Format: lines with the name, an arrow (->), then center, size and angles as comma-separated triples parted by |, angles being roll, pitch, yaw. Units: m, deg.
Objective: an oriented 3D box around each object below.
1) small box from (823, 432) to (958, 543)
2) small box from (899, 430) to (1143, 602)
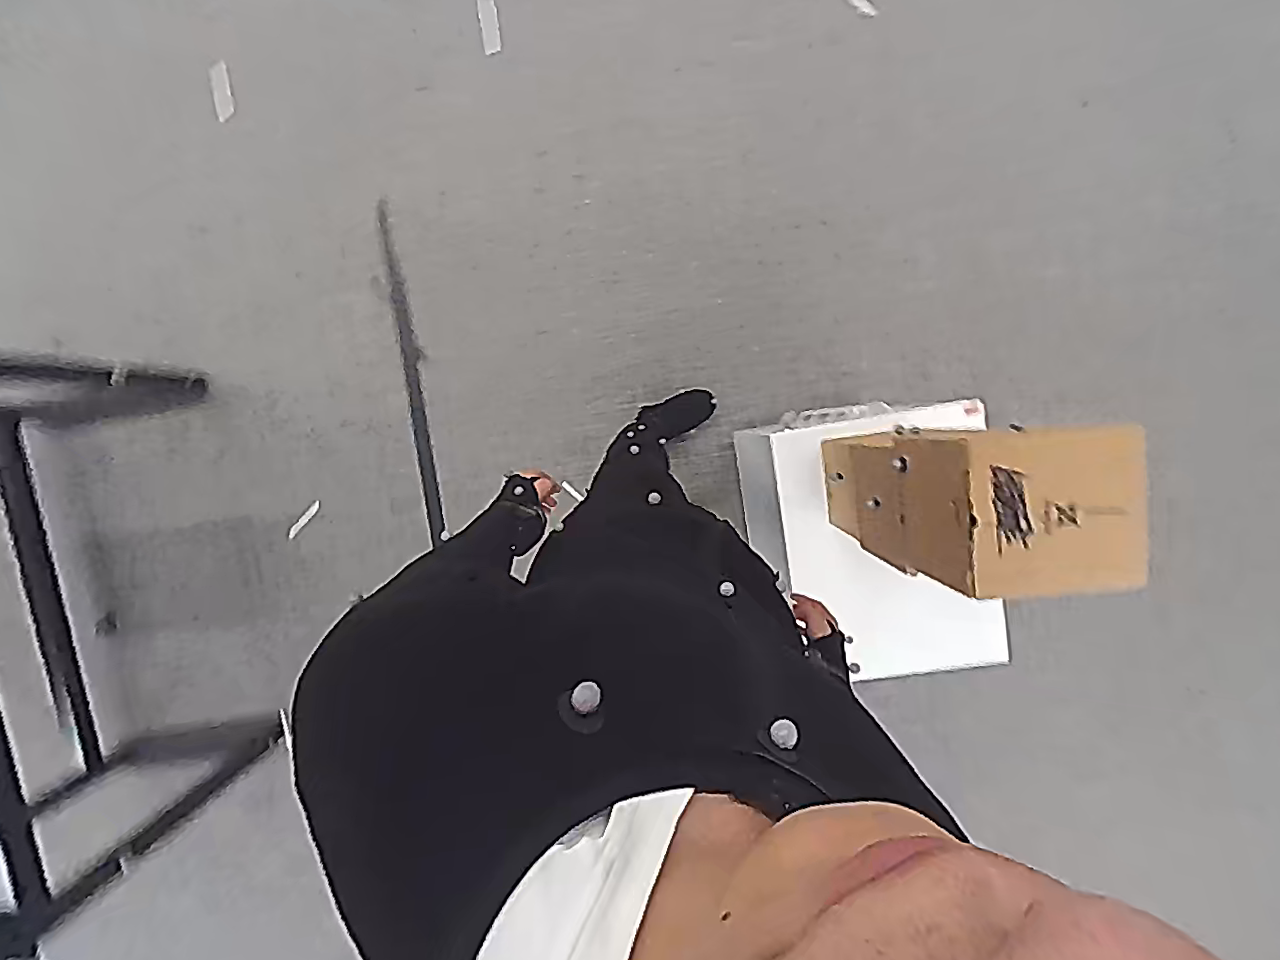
small box -> 0.431, 0.007, 0.948 | 0.179, 0.176, 0.168 | -7, 96, 2
small box -> 0.415, 0.032, 0.620 | 0.179, 0.176, 0.168 | -4, 95, 1
